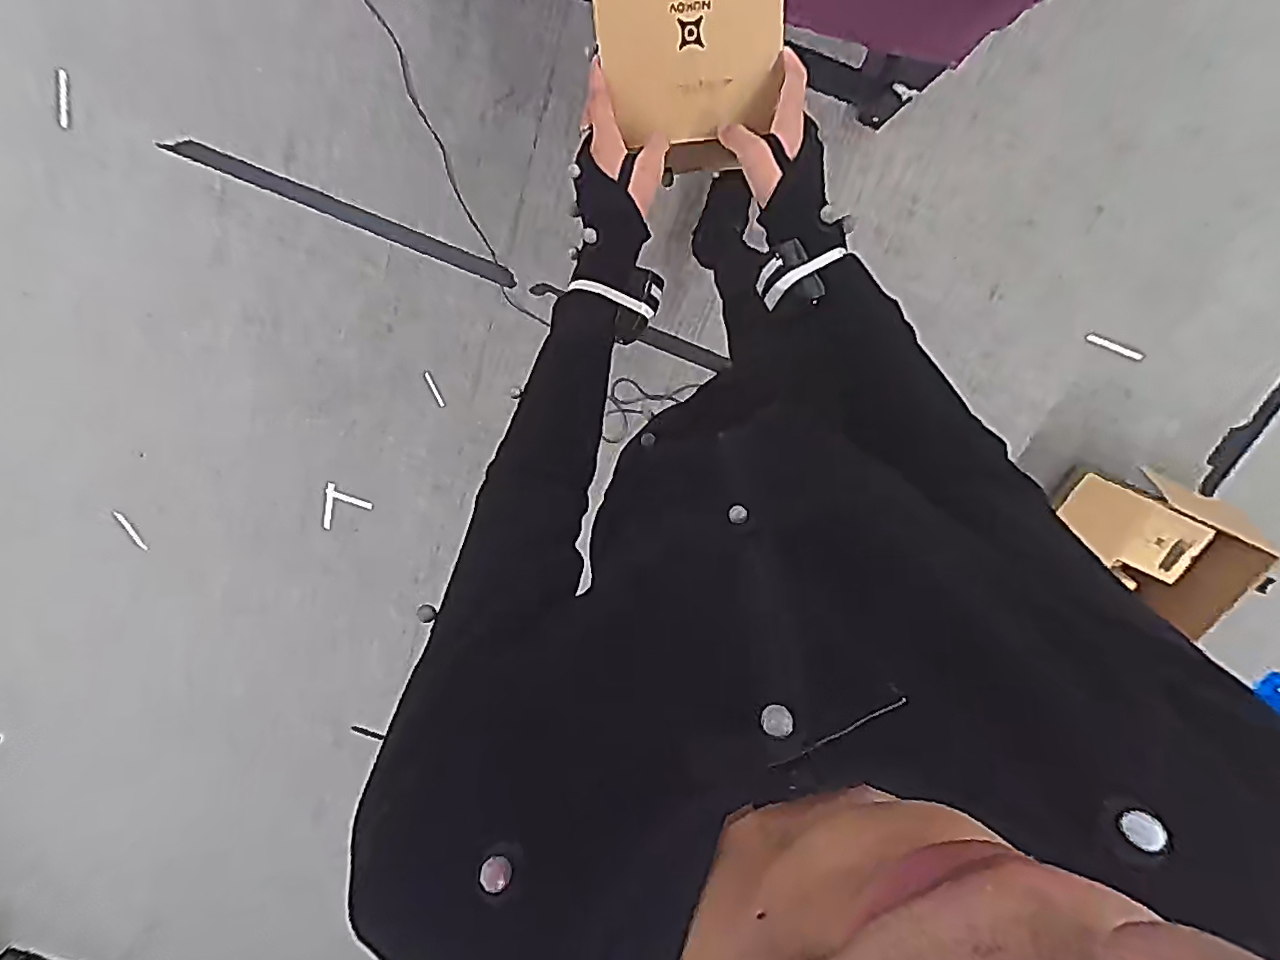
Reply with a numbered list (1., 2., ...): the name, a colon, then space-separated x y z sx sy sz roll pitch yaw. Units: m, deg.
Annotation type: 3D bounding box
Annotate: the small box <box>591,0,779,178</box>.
1. small box: 0.038 -0.430 0.552 0.168 0.176 0.179 -6 109 0
